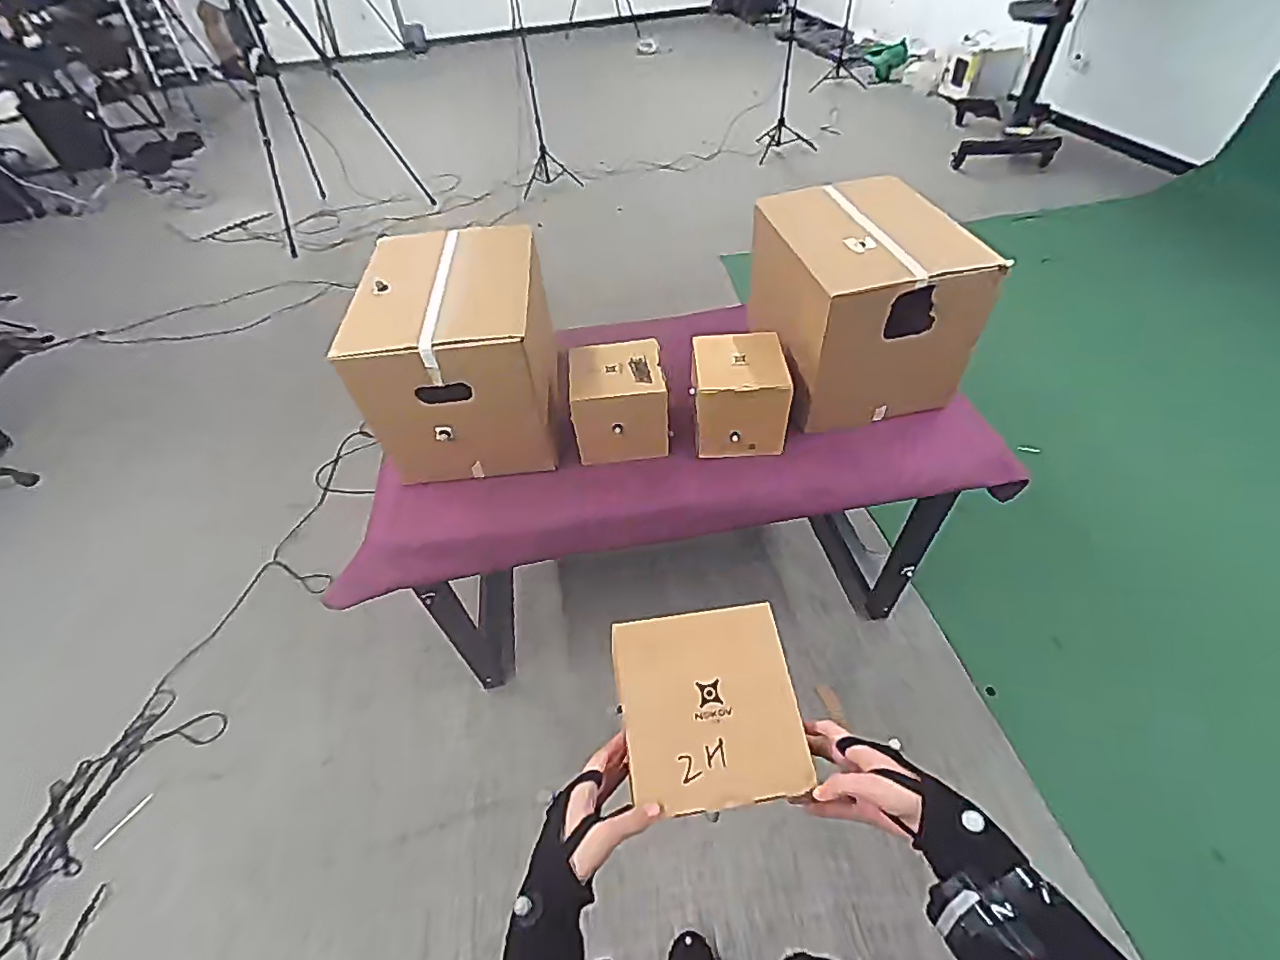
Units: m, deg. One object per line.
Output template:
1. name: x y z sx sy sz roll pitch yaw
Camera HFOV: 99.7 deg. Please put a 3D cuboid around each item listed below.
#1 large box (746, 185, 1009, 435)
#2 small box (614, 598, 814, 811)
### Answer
1. large box: 0.437 -0.358 1.125 0.320 0.320 0.408 -12 49 -2
2. small box: 0.061 0.244 0.581 0.168 0.176 0.179 -6 61 -5
